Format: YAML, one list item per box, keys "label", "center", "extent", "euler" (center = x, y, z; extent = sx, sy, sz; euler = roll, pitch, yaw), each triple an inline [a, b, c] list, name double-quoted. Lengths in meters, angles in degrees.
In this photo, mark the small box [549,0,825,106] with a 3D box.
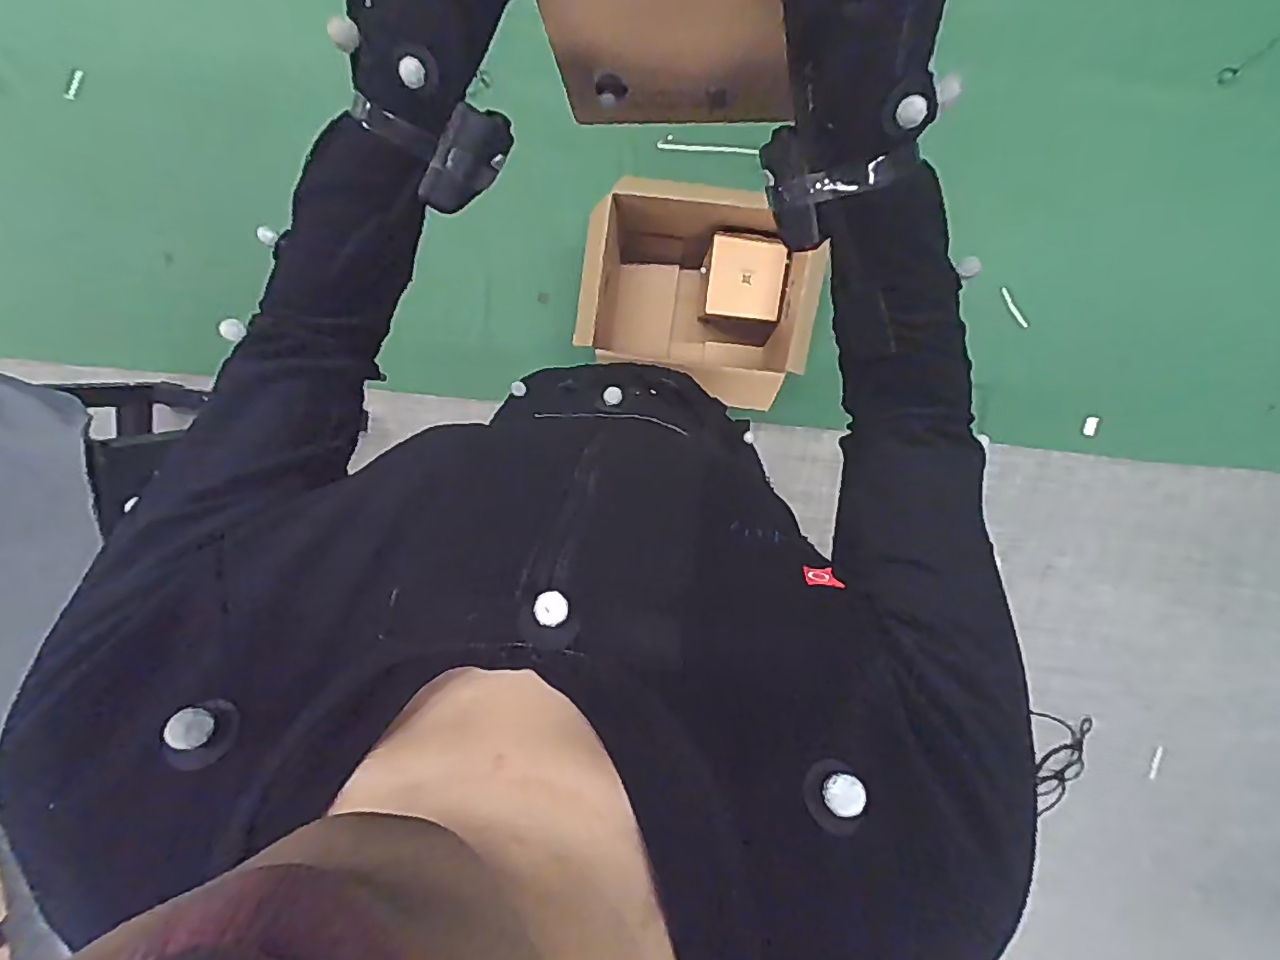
- label: "small box"
  center: [0.034, -0.358, 0.319]
  extent: [0.168, 0.176, 0.179]
  euler: [6, 80, 9]
